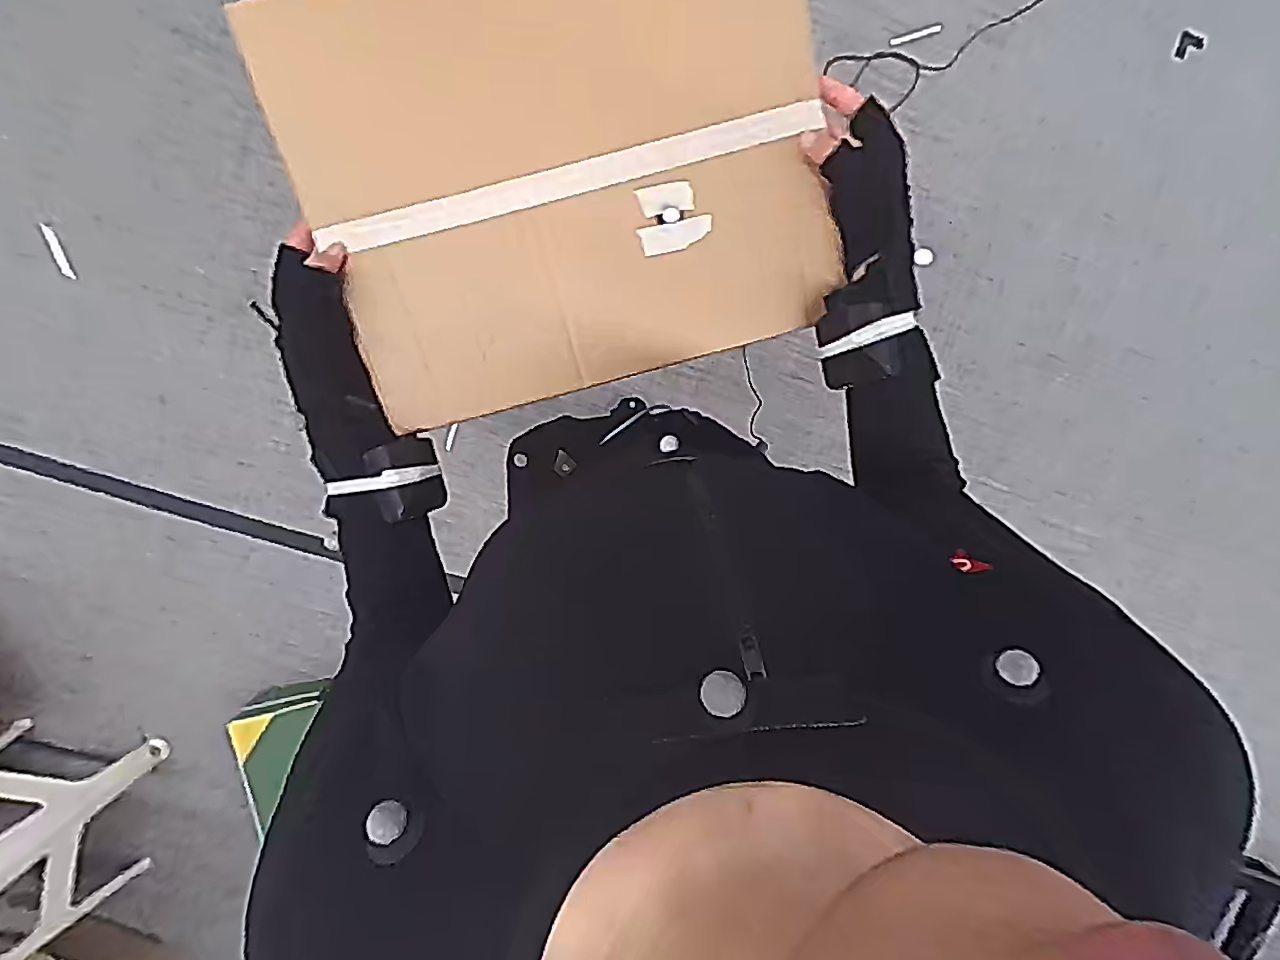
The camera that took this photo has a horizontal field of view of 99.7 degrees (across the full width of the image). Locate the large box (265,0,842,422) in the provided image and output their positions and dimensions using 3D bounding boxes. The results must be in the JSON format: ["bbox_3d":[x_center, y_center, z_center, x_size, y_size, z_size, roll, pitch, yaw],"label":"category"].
[{"bbox_3d":[-0.062,-0.281,0.576,0.408,0.320,0.320,-15,108,-2],"label":"large box"}]
